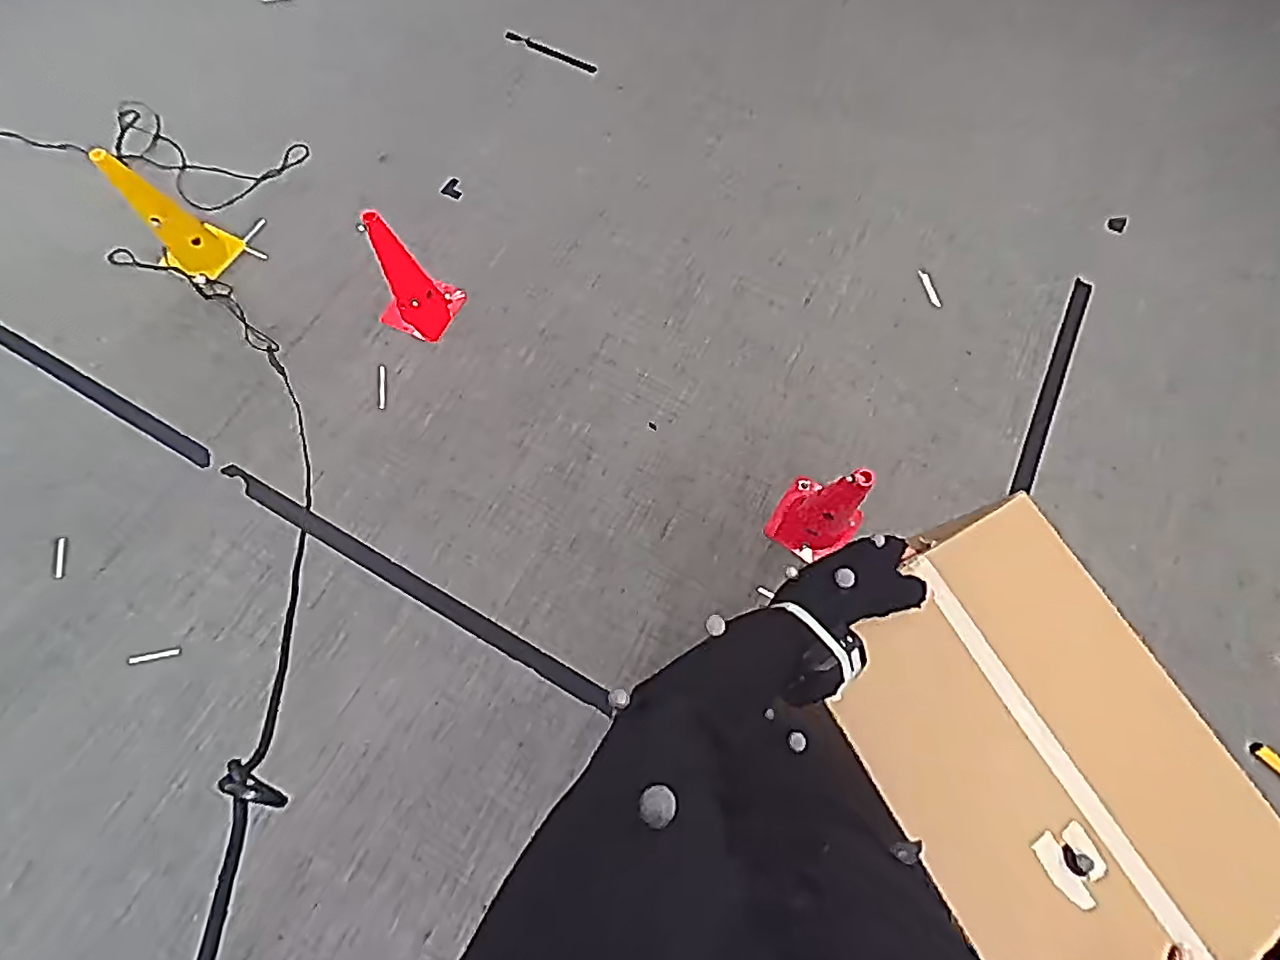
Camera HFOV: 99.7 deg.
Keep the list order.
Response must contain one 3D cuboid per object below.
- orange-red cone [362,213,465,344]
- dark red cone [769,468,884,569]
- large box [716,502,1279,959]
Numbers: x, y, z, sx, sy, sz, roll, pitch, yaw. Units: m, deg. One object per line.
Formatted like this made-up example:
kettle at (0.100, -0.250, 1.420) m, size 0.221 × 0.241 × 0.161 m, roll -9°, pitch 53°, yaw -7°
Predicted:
orange-red cone at (-0.659, -0.574, 1.481) m, size 0.199 × 0.360 × 0.198 m, roll 24°, pitch 72°, yaw 10°
dark red cone at (0.453, 0.051, 1.227) m, size 0.202 × 0.394 × 0.201 m, roll 32°, pitch 75°, yaw 11°
large box at (0.347, 0.299, 0.635) m, size 0.320 × 0.320 × 0.408 m, roll -26°, pitch 75°, yaw -14°
